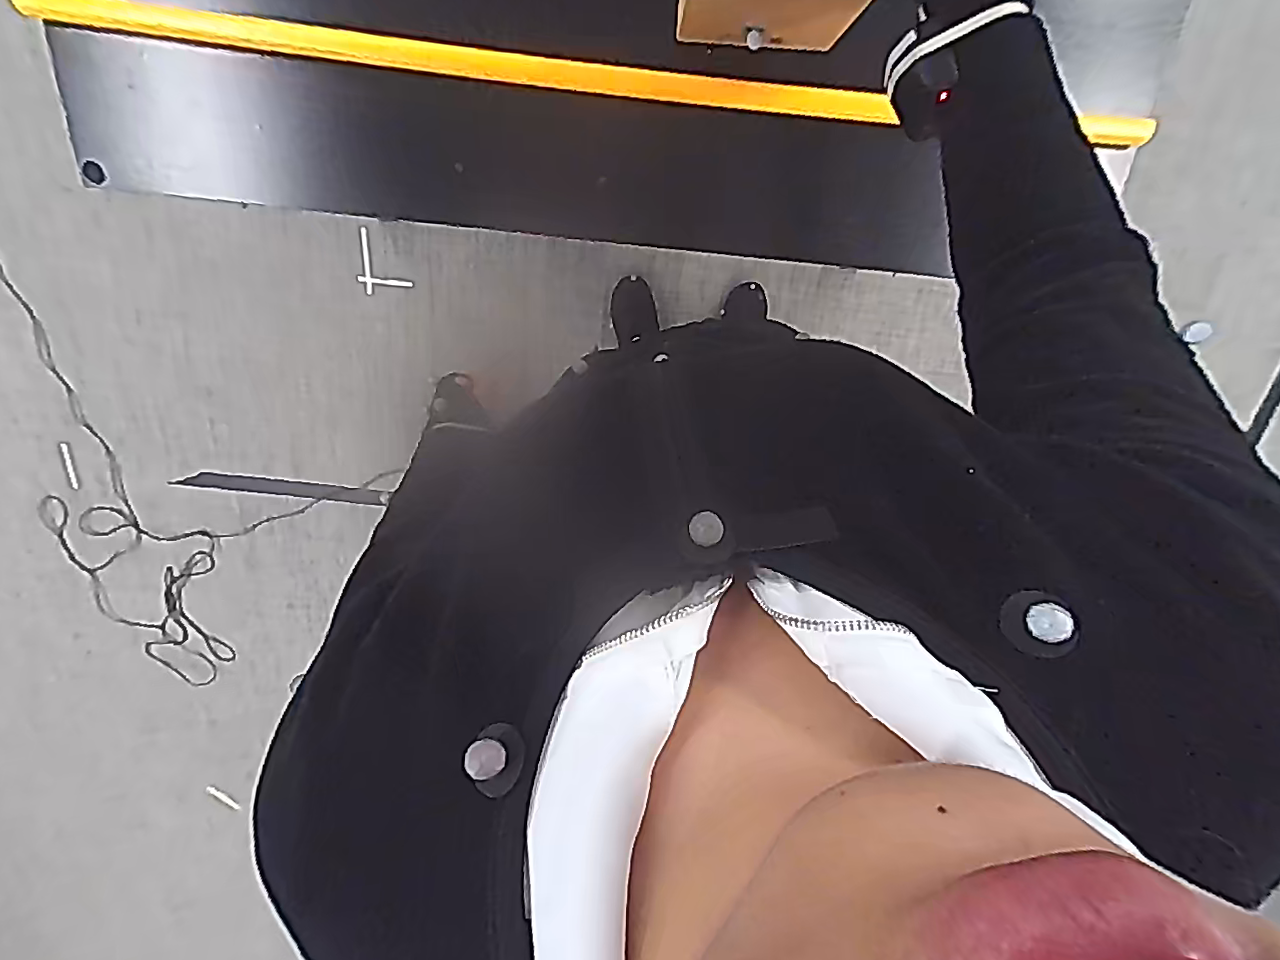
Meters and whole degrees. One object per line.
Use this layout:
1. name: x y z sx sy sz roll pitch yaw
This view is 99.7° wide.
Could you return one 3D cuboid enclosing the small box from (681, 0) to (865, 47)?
1. small box: 0.128 -0.526 0.479 0.168 0.176 0.179 3 112 -1
